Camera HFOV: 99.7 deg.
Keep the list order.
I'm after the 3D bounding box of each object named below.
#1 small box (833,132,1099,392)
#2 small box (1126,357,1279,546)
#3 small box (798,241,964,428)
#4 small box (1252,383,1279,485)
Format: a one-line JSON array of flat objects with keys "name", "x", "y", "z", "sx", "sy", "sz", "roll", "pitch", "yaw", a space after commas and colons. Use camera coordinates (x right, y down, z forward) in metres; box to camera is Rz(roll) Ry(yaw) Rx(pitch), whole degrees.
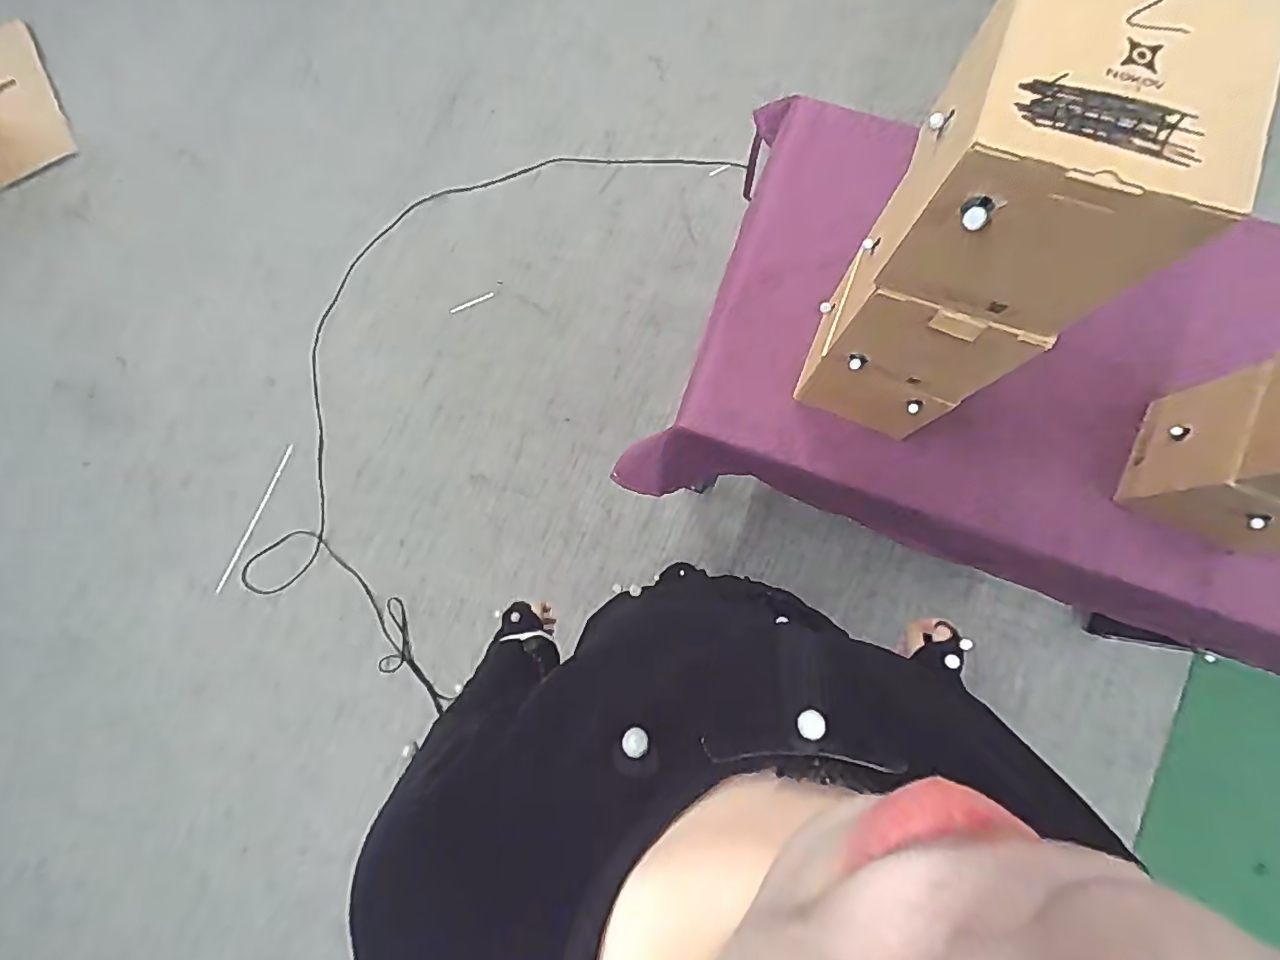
[{"name": "small box", "x": 0.326, "y": -0.216, "z": 0.581, "sx": 0.168, "sy": 0.176, "sz": 0.179, "roll": 21, "pitch": 82, "yaw": 6}, {"name": "small box", "x": 0.782, "y": -0.022, "z": 0.680, "sx": 0.179, "sy": 0.176, "sz": 0.168, "roll": 26, "pitch": 85, "yaw": 8}, {"name": "small box", "x": 0.337, "y": -0.186, "z": 0.742, "sx": 0.179, "sy": 0.176, "sz": 0.168, "roll": 22, "pitch": 83, "yaw": 7}, {"name": "small box", "x": 0.773, "y": -0.055, "z": 0.520, "sx": 0.168, "sy": 0.176, "sz": 0.179, "roll": 26, "pitch": 83, "yaw": 7}]
